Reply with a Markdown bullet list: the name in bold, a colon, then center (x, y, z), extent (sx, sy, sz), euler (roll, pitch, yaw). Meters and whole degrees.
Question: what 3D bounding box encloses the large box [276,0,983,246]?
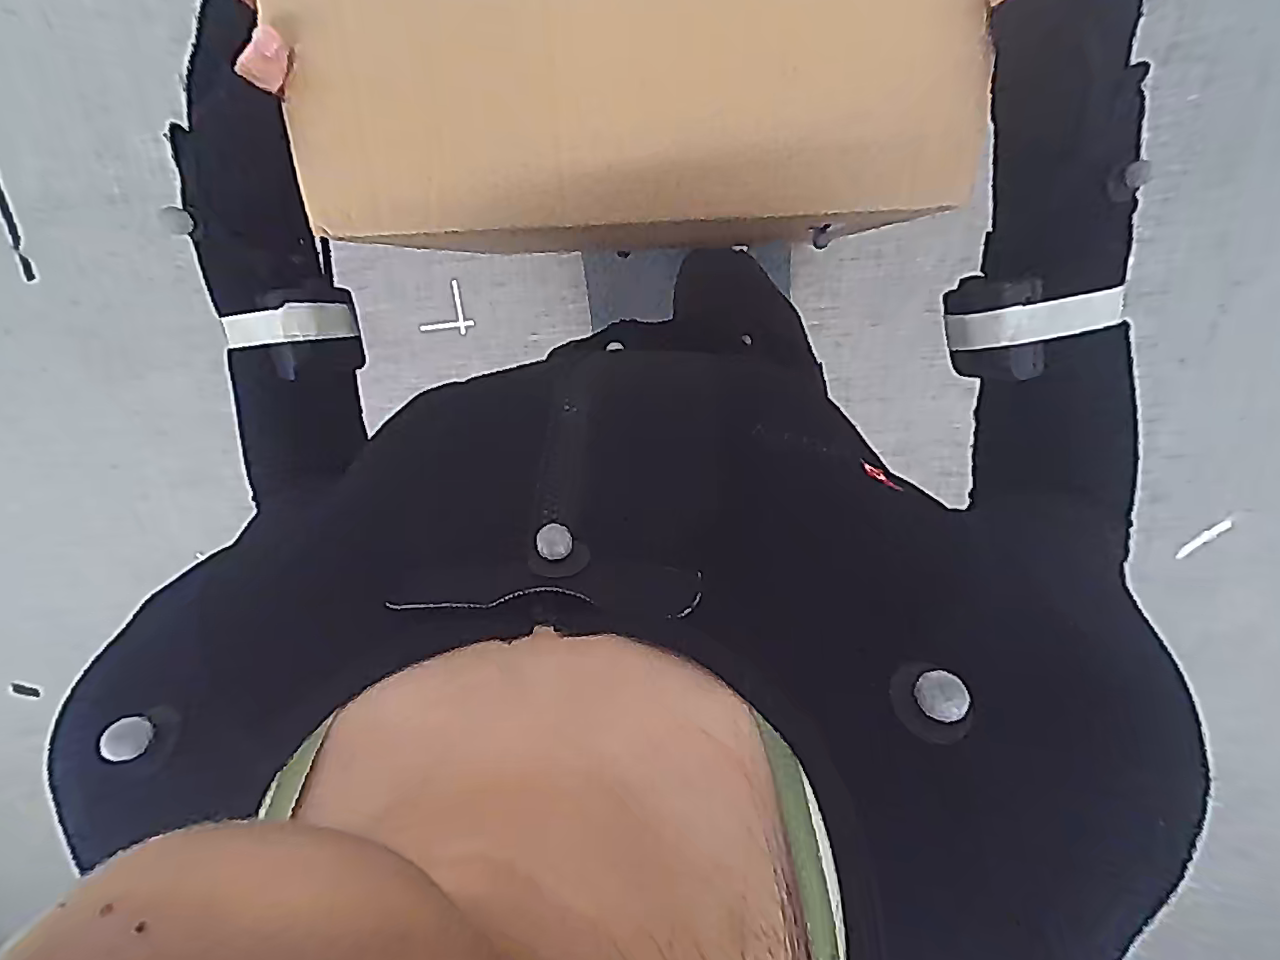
- **large box**: center (-0.003, -0.365, 0.425), extent (0.408, 0.320, 0.320), euler (-1, 110, 4)
